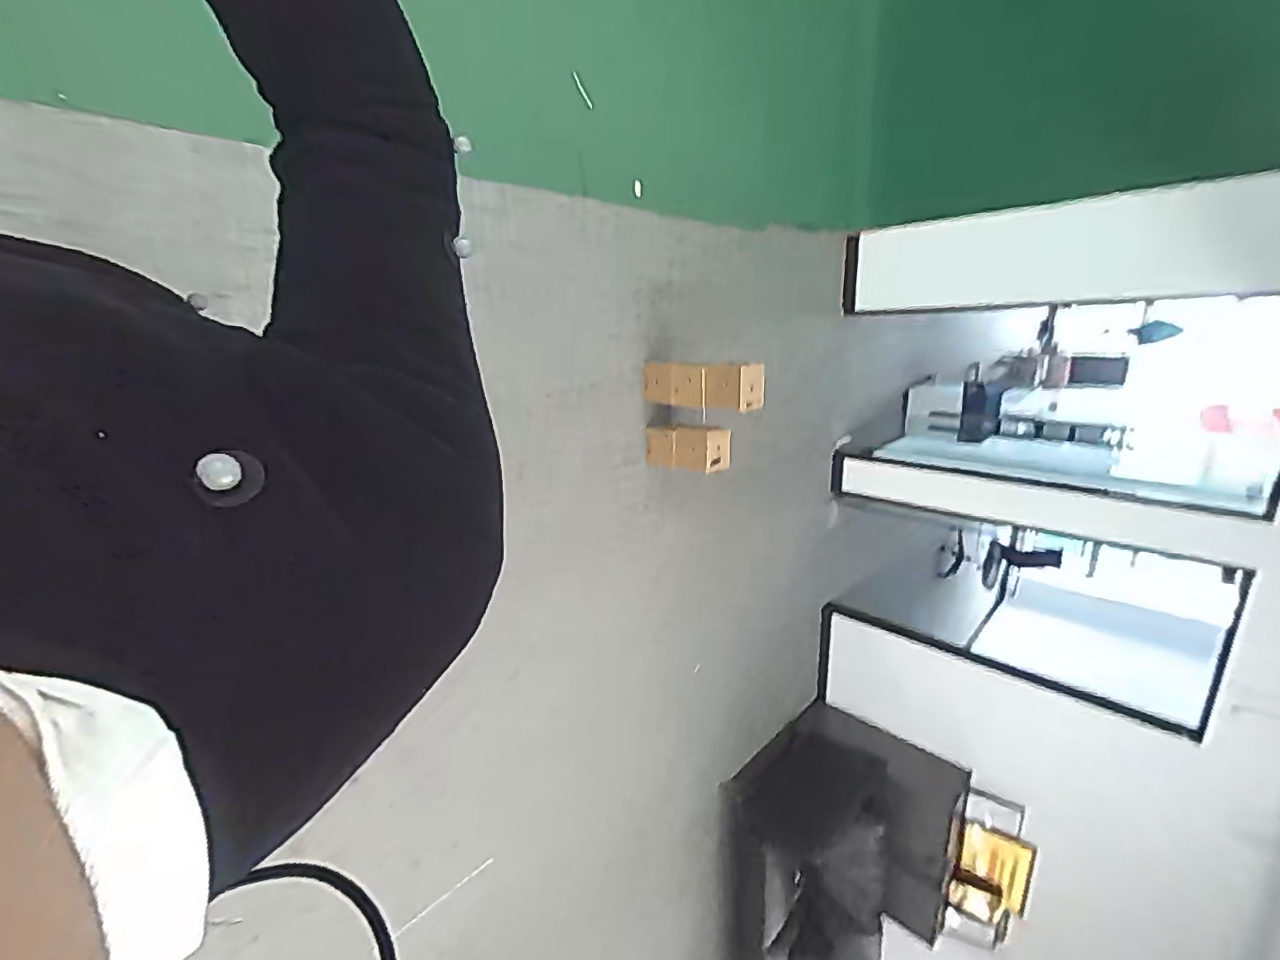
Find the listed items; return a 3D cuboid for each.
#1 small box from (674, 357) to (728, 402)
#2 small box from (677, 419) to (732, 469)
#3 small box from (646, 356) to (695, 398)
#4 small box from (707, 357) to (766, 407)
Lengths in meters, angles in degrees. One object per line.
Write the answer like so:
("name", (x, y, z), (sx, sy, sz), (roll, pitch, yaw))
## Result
("small box", (0.253, -0.413, 2.208), (0.179, 0.176, 0.168), (-18, 113, -42))
("small box", (0.272, -0.156, 2.292), (0.168, 0.176, 0.179), (-14, 110, -44))
("small box", (0.139, -0.444, 2.318), (0.179, 0.176, 0.168), (-14, 111, -42))
("small box", (0.373, -0.383, 2.099), (0.168, 0.176, 0.179), (-17, 111, -42))
